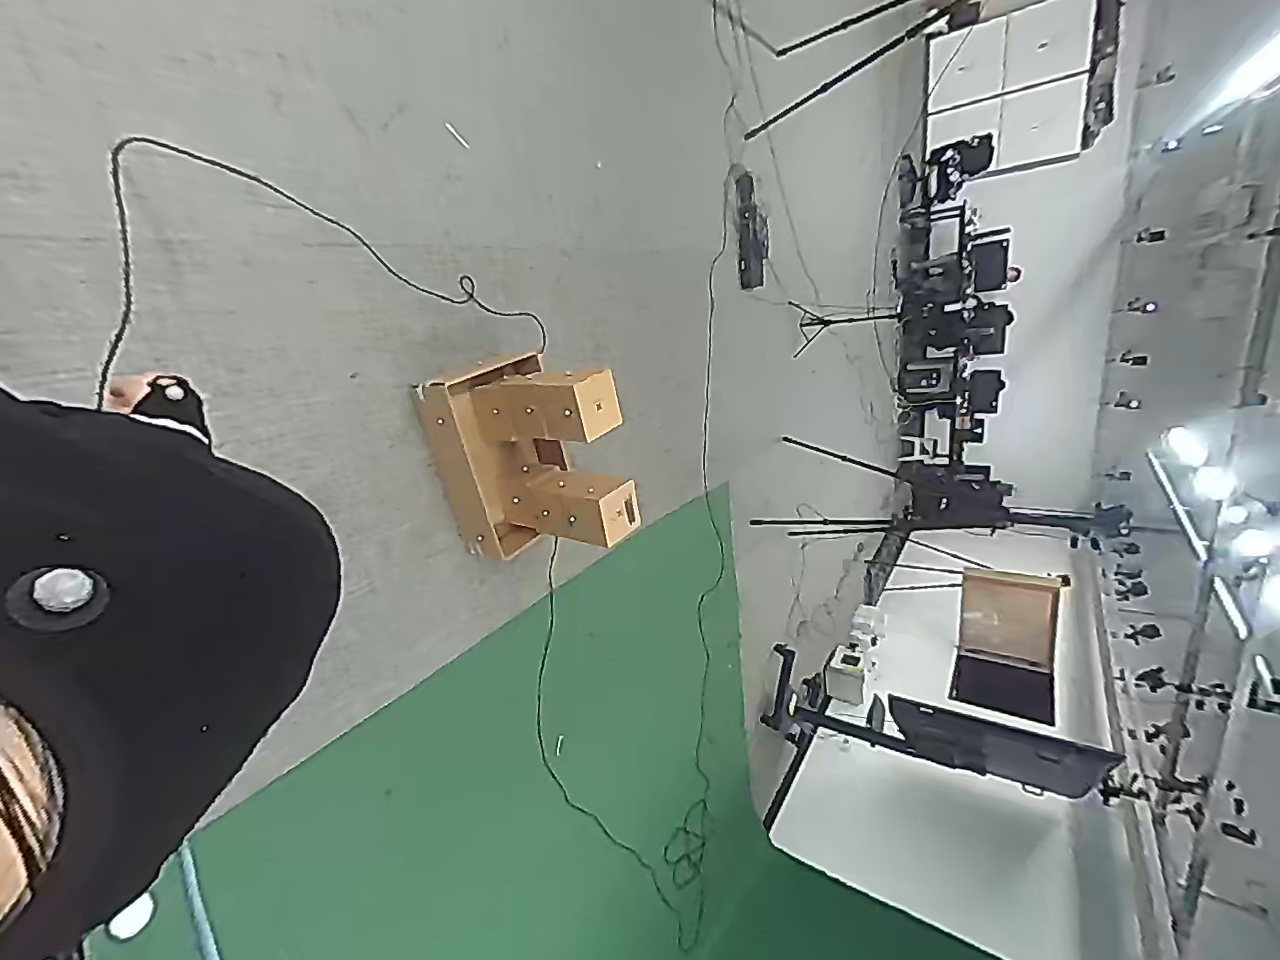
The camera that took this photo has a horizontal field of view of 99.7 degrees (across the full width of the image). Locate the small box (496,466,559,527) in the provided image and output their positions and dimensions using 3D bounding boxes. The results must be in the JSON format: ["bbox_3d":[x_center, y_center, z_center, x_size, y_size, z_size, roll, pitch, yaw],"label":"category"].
[{"bbox_3d":[-0.389,0.056,1.930,0.168,0.176,0.179,-33,119,-47],"label":"small box"}]

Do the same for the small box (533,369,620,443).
[{"bbox_3d":[-0.190,-0.223,1.614,0.168,0.176,0.179,-37,122,-43],"label":"small box"}]

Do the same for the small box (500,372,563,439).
[{"bbox_3d":[-0.319,-0.237,1.711,0.168,0.176,0.179,-31,120,-46],"label":"small box"}]

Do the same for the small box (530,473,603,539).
[{"bbox_3d":[-0.255,0.082,1.837,0.179,0.176,0.168,-33,121,-48],"label":"small box"}]
